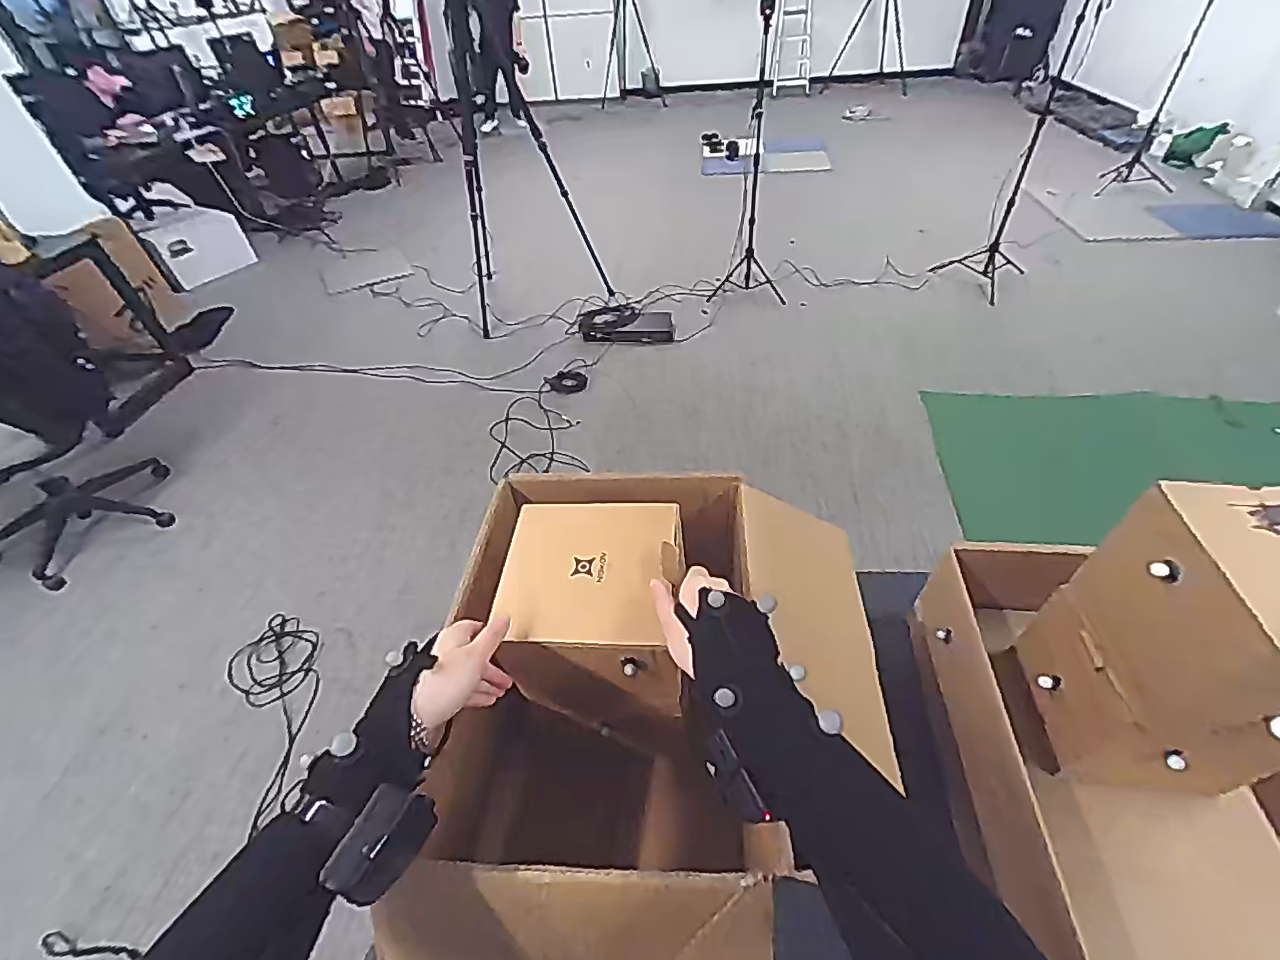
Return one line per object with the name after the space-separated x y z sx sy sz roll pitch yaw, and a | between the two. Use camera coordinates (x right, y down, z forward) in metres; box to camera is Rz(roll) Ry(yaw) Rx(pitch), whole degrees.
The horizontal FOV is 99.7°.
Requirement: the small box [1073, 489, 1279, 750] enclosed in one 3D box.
0.563 0.130 0.509 0.168 0.176 0.179 2 46 8 | small box
